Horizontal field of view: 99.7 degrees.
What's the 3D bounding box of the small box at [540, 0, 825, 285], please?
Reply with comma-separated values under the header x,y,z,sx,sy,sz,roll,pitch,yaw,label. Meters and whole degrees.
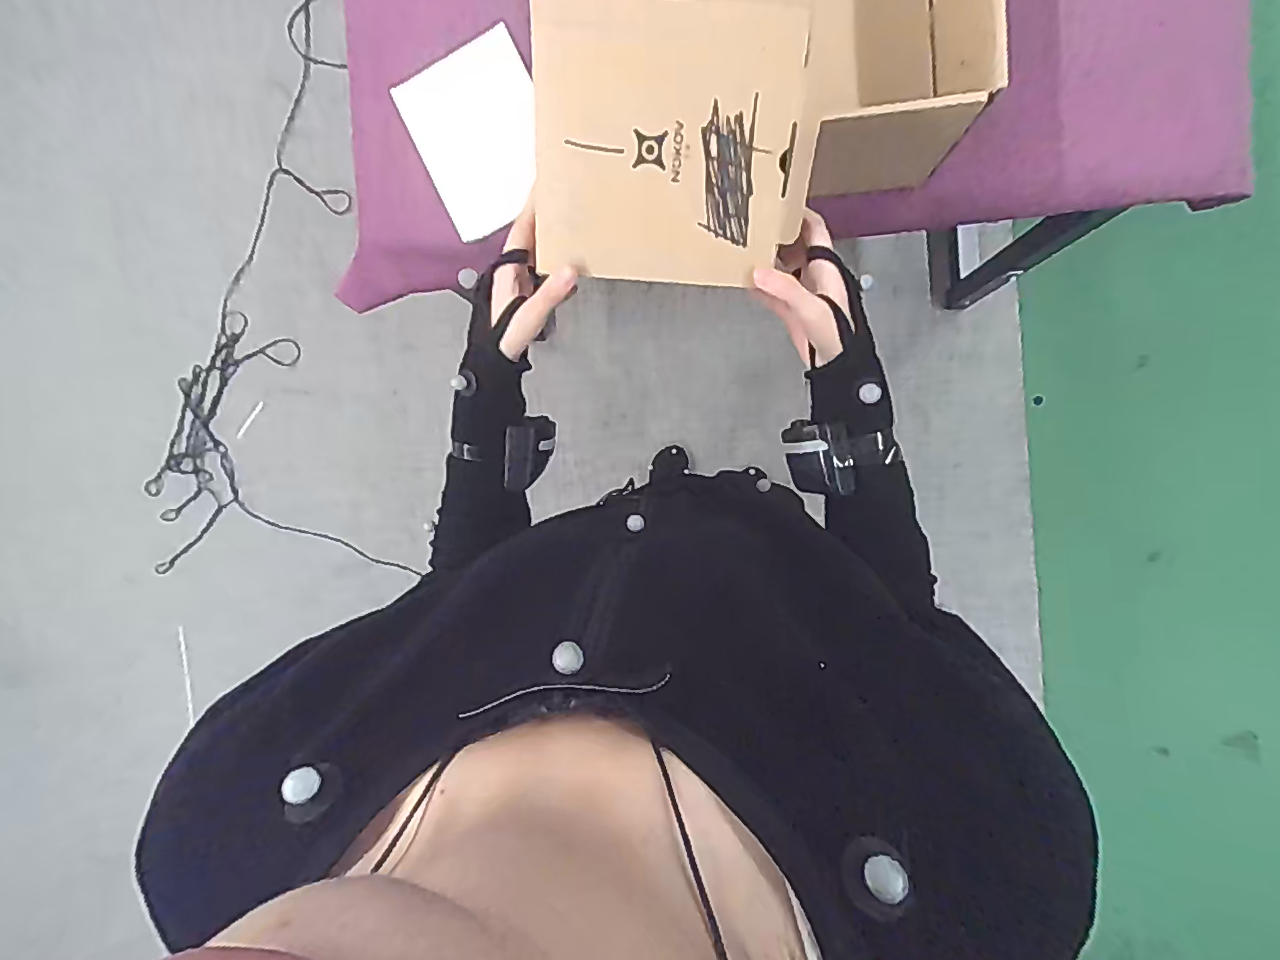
x,y,z,sx,sy,sz,roll,pitch,yaw,label
0.022,-0.256,0.430,0.179,0.176,0.168,5,115,0,small box
